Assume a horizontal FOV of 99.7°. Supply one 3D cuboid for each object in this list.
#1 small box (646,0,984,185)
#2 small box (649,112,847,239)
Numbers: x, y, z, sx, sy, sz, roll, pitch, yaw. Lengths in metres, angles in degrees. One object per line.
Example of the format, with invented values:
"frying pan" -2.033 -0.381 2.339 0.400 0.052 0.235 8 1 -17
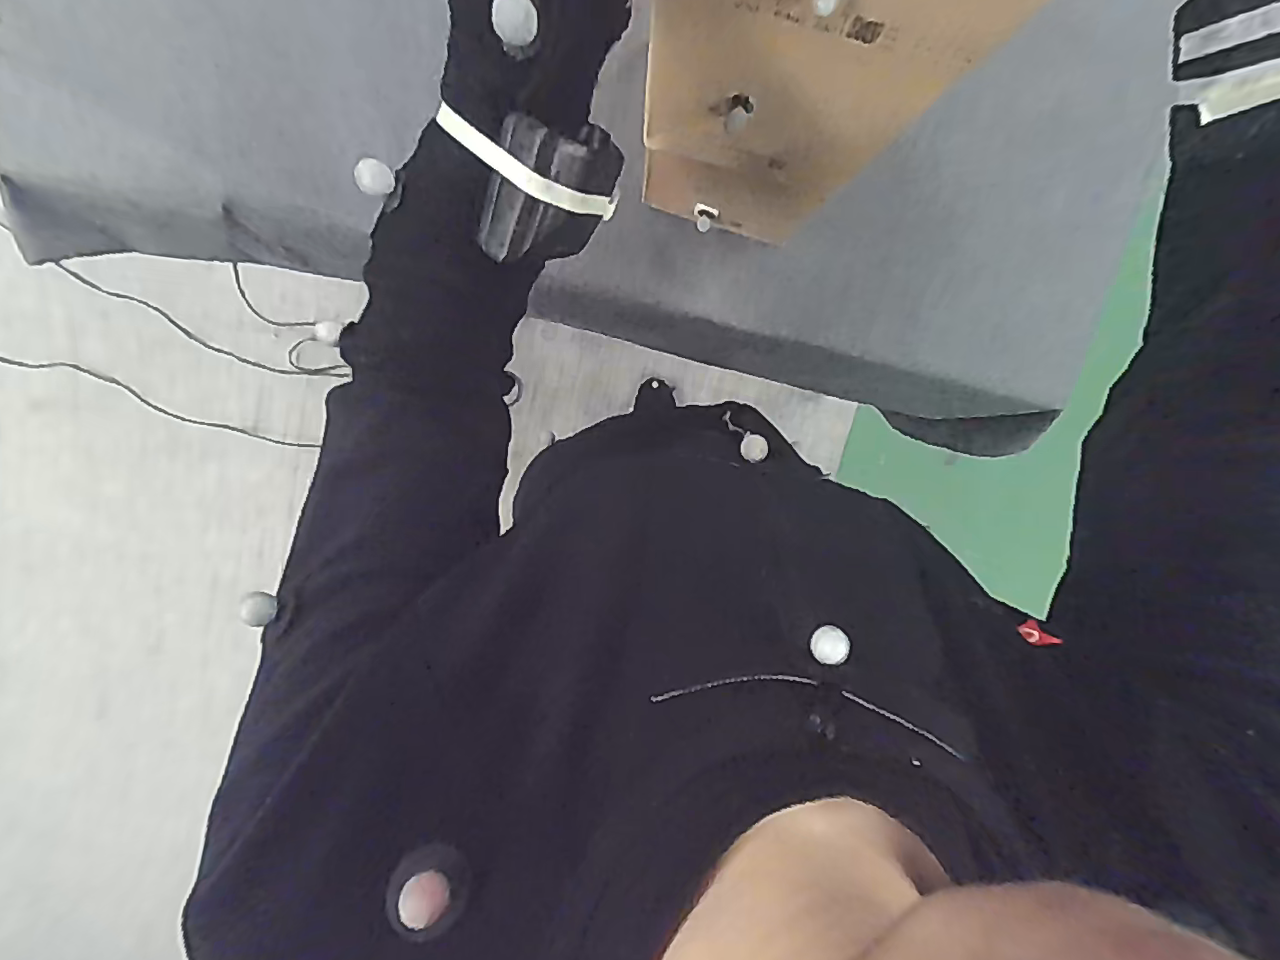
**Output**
"small box" 0.103 -0.315 0.334 0.168 0.176 0.179 13 98 -2
"small box" 0.105 -0.348 0.494 0.168 0.176 0.179 14 100 -3
